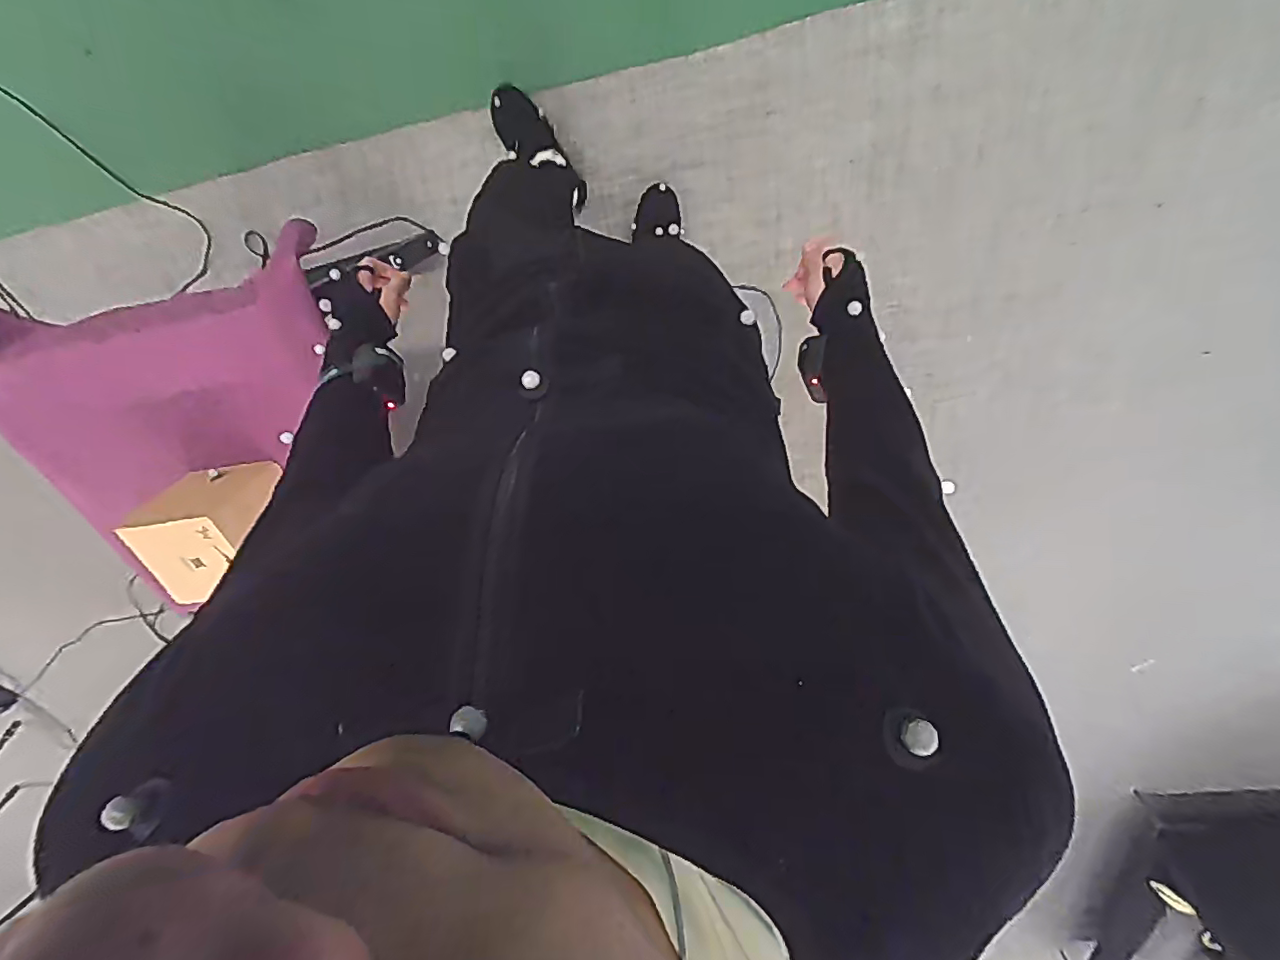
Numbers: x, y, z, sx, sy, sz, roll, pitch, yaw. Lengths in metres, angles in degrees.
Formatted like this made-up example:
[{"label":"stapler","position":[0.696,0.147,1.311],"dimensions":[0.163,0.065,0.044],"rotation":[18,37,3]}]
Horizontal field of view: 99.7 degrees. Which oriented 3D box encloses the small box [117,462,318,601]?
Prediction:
[{"label":"small box","position":[-0.710,0.086,0.934],"dimensions":[0.179,0.176,0.168],"rotation":[-7,123,9]}]
